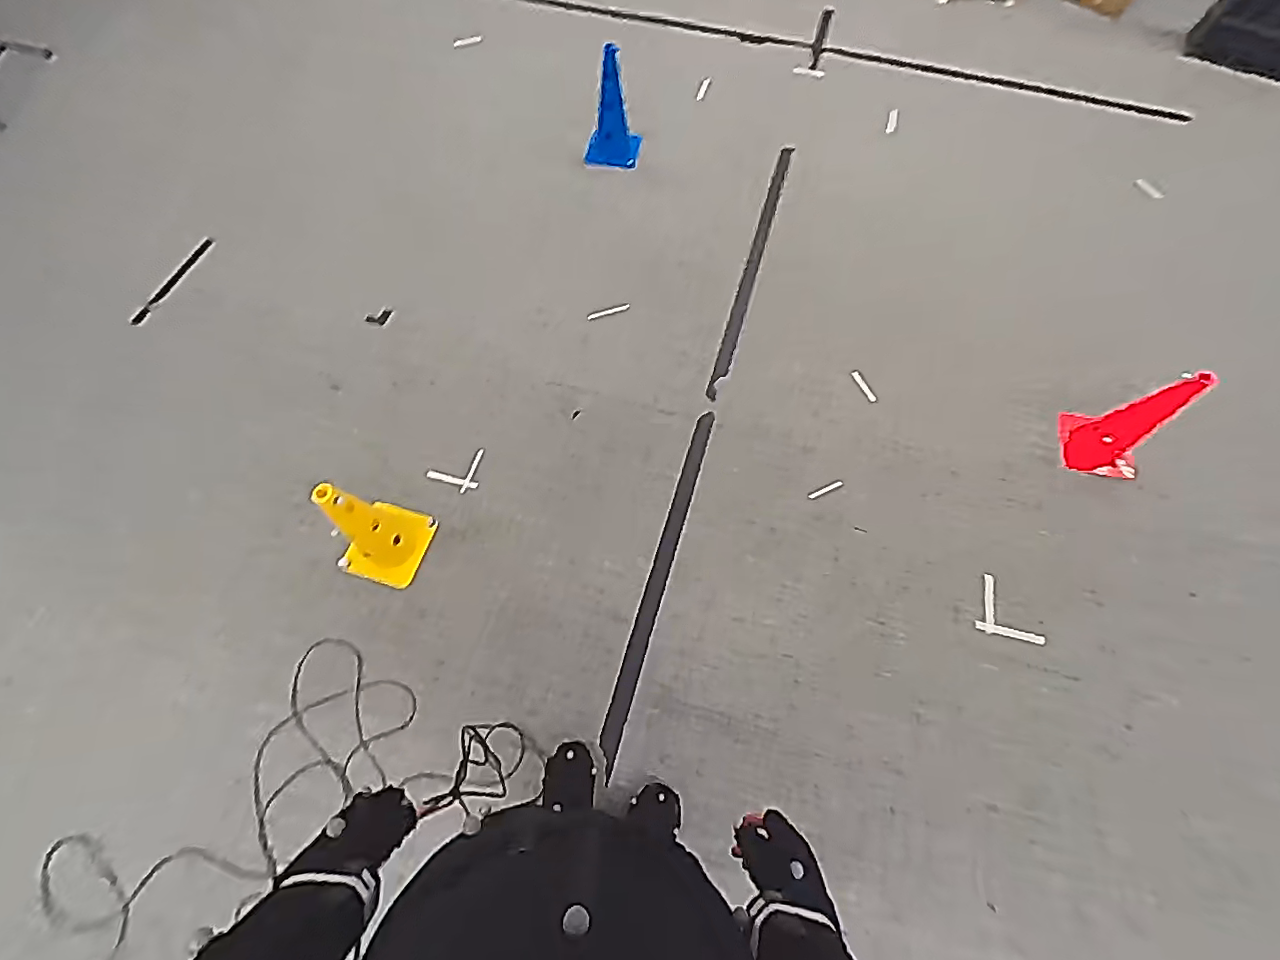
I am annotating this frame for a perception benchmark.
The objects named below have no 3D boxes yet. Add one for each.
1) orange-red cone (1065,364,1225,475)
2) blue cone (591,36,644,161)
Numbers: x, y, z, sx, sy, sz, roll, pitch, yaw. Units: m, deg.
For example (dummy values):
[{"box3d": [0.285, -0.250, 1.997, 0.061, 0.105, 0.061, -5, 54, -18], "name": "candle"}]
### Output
[{"box3d": [1.376, -0.191, 1.453, 0.198, 0.360, 0.199, 12, 65, 4], "name": "orange-red cone"}, {"box3d": [-0.087, -1.388, 1.963, 0.192, 0.380, 0.193, 11, 66, 4], "name": "blue cone"}]
